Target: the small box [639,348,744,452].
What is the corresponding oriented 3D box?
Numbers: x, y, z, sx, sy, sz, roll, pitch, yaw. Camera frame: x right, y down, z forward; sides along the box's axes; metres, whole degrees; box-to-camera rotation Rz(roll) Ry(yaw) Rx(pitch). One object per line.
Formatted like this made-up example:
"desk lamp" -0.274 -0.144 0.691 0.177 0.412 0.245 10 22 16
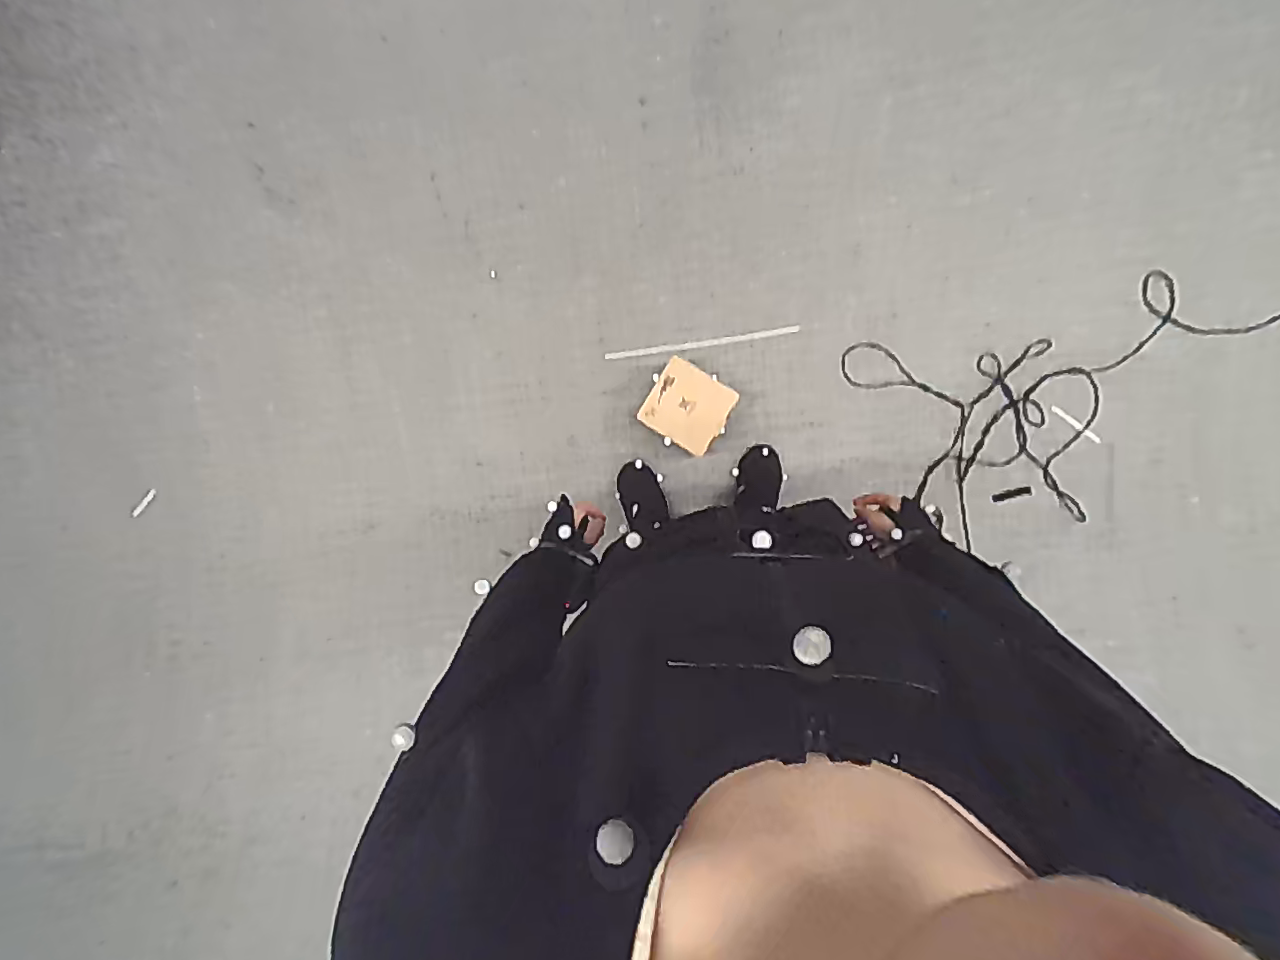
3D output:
"small box" 0.119 -0.183 1.257 0.179 0.176 0.168 32 97 1
